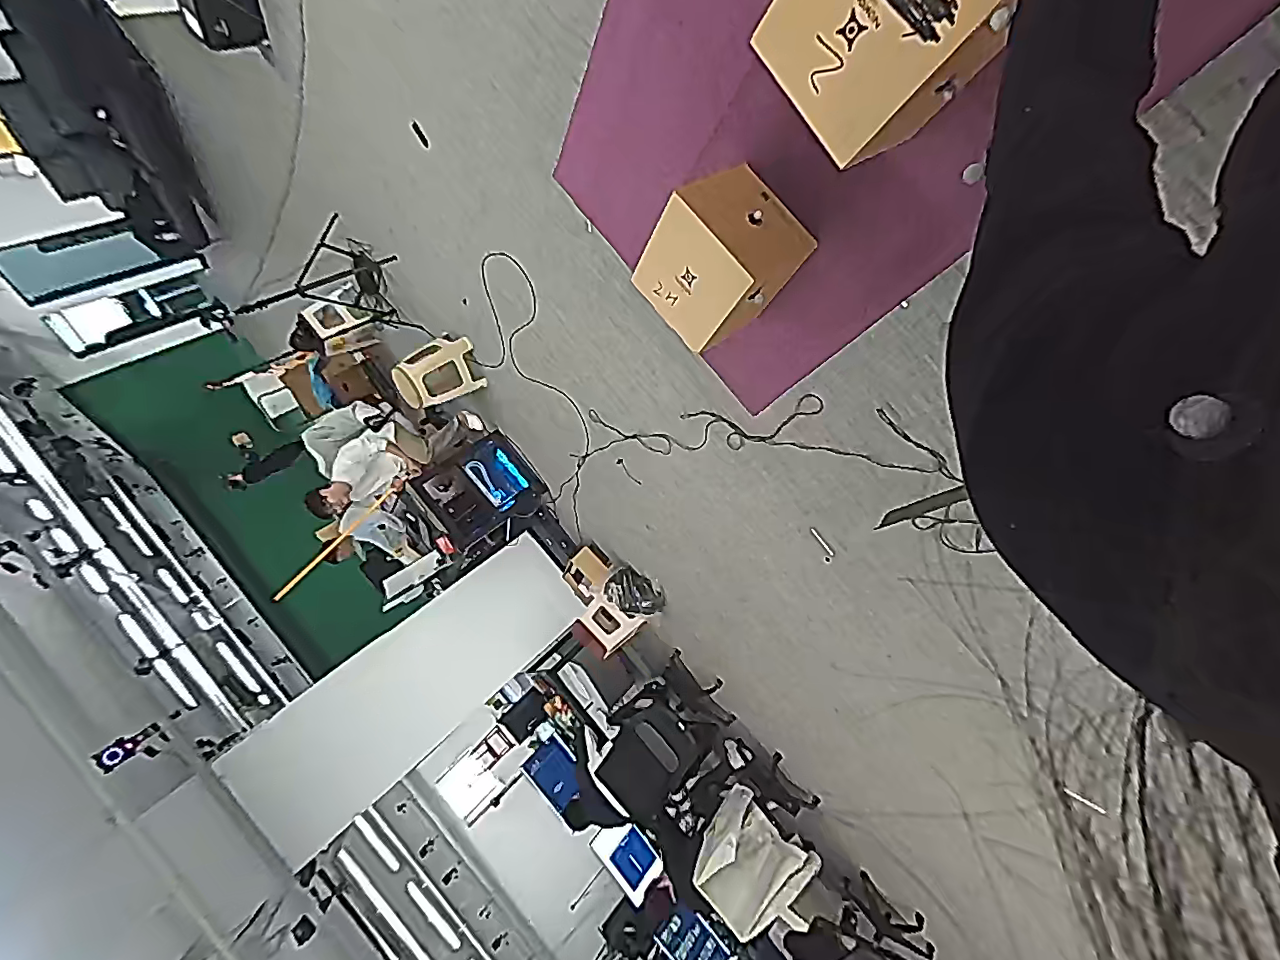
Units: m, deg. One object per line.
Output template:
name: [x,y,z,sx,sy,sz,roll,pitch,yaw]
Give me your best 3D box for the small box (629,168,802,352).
small box: [0.118,-0.334,0.821,0.168,0.176,0.179,51,149,4]
